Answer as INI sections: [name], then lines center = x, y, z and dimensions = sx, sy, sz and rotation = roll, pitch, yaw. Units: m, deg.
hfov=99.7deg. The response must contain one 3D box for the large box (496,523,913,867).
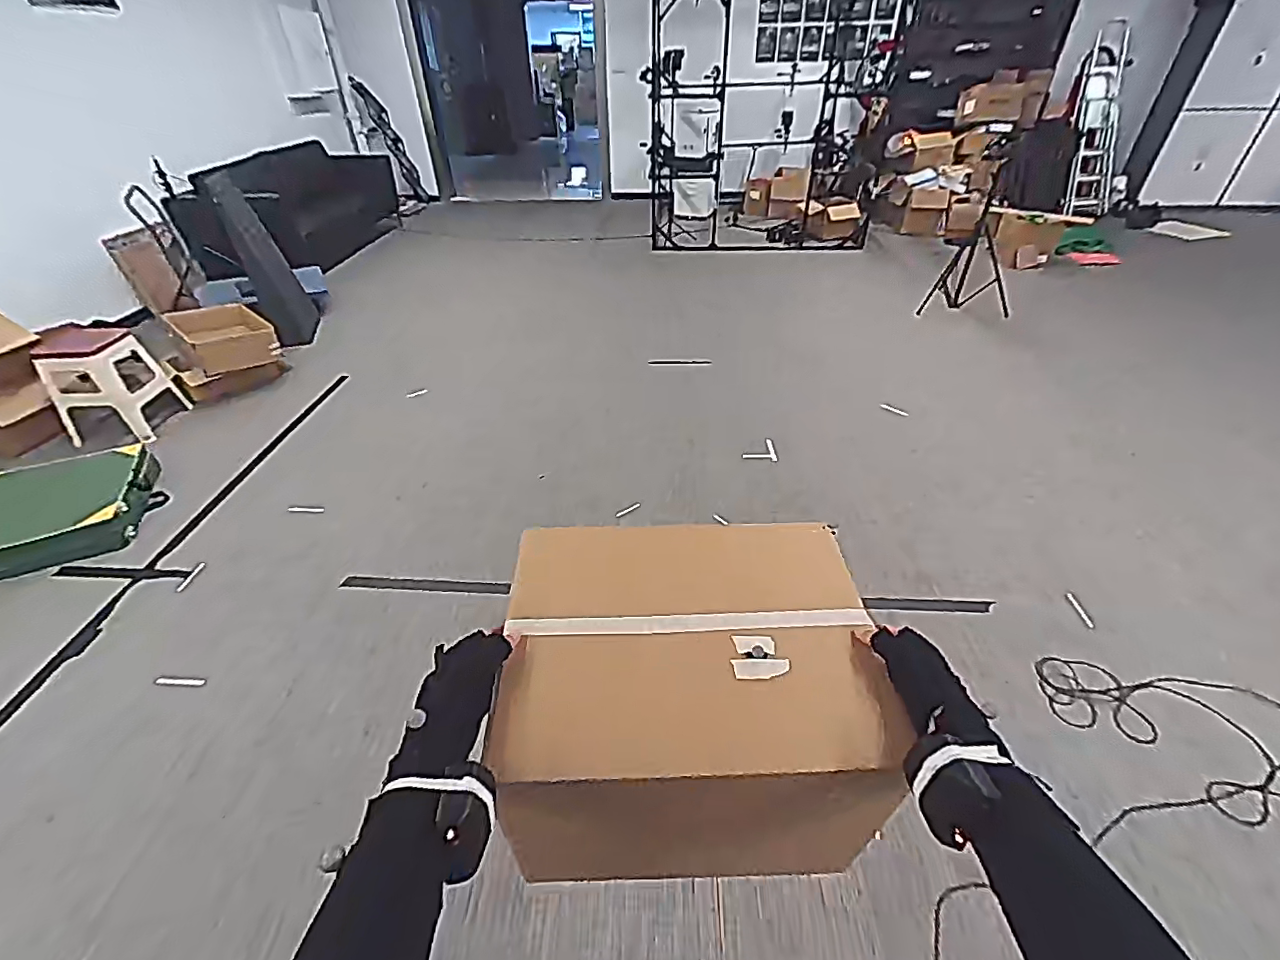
[large box]
center = 0.054, 0.274, 0.710
dimensions = 0.408, 0.320, 0.320
rotation = -1, 41, -2
